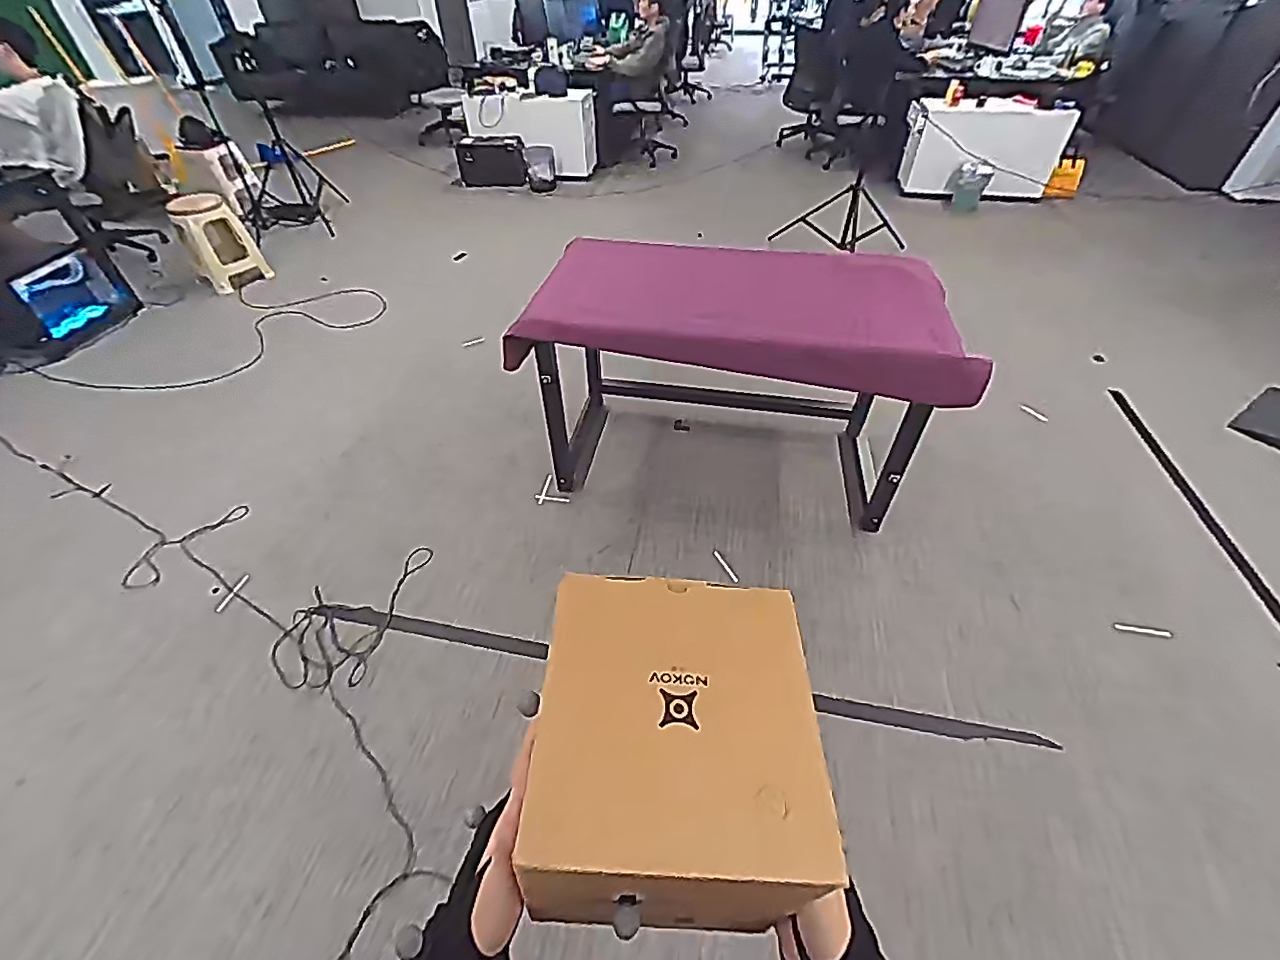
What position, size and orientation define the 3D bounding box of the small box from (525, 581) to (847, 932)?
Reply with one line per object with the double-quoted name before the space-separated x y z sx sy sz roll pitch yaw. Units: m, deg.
"small box" 0.021 0.195 0.382 0.168 0.176 0.179 4 42 -2
